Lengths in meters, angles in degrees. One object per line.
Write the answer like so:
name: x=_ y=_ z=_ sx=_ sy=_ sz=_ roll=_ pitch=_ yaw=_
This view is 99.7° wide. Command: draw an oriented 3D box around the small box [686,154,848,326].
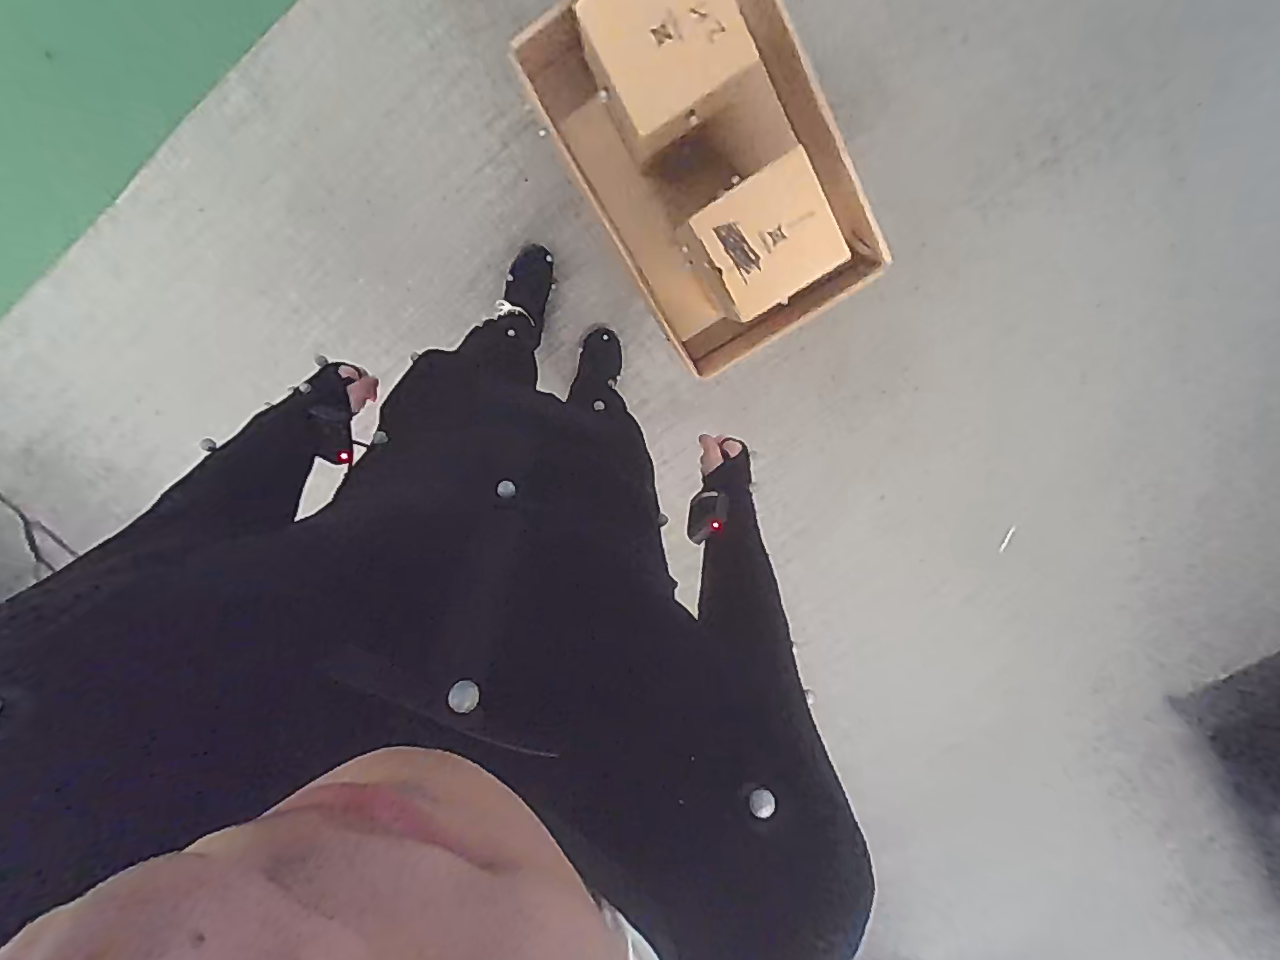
small box: x=0.181 y=-0.356 z=0.832 sx=0.179 sy=0.176 sz=0.168 roll=-30 pitch=108 yaw=9

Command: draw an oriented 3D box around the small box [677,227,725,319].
small box: x=0.177 y=-0.413 z=0.986 sx=0.179 sy=0.176 sz=0.168 roll=-29 pitch=108 yaw=9

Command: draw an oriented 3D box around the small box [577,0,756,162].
small box: x=0.035 y=-0.575 z=0.747 sx=0.179 sy=0.176 sz=0.168 roll=-28 pitch=109 yaw=9

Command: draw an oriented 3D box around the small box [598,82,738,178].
small box: x=0.037 y=-0.638 z=0.899 sx=0.179 sy=0.176 sz=0.168 roll=-27 pitch=107 yaw=8
